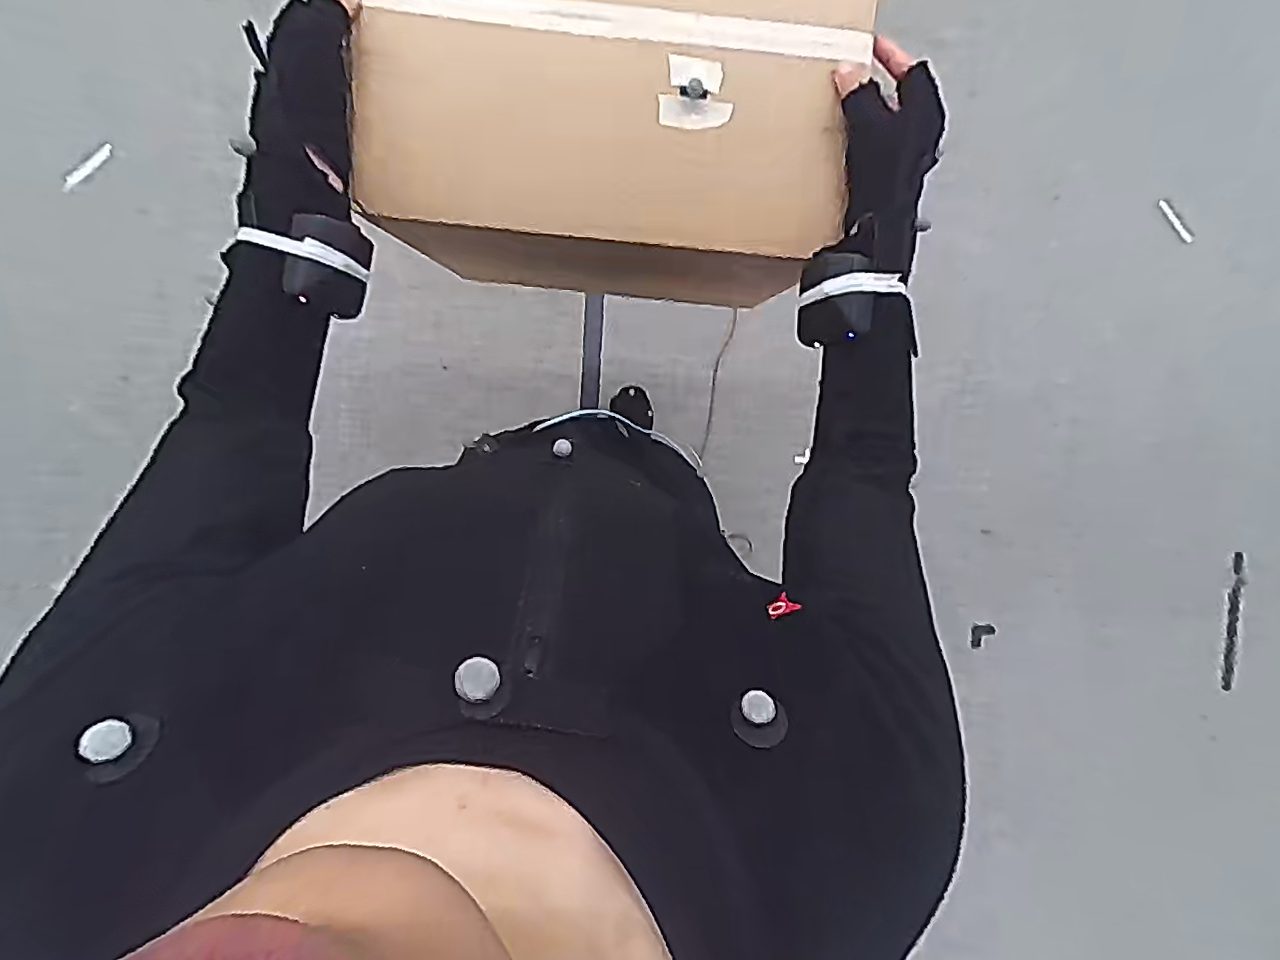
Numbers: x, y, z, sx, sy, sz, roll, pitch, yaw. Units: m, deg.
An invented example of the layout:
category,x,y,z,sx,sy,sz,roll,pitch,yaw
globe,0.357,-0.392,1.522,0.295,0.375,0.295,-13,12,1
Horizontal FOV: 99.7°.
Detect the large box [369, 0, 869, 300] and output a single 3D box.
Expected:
category,x,y,z,sx,sy,sz,roll,pitch,yaw
large box,-0.023,-0.387,0.581,0.408,0.320,0.320,5,101,-3
